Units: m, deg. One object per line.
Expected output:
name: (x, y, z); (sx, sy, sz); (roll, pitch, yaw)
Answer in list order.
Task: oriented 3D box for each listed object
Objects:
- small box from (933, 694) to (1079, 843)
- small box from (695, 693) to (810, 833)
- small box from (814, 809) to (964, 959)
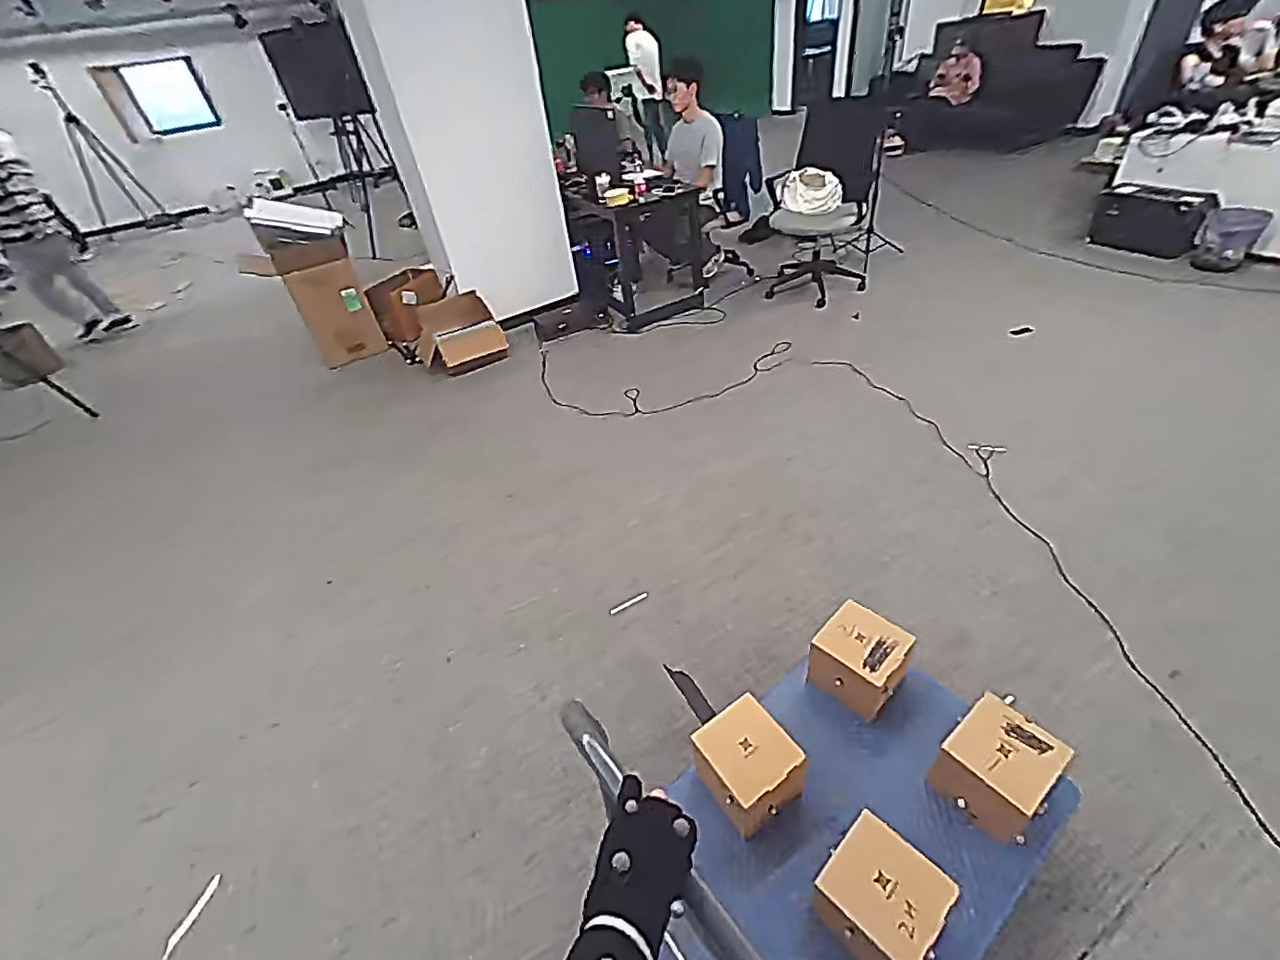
small box: (0.722, 0.579, 1.087); (0.179, 0.176, 0.168); (-31, 44, -22)
small box: (0.234, 0.604, 1.156); (0.168, 0.176, 0.179); (-28, 45, -21)
small box: (0.427, 0.740, 0.955); (0.168, 0.176, 0.179); (-35, 46, -27)
